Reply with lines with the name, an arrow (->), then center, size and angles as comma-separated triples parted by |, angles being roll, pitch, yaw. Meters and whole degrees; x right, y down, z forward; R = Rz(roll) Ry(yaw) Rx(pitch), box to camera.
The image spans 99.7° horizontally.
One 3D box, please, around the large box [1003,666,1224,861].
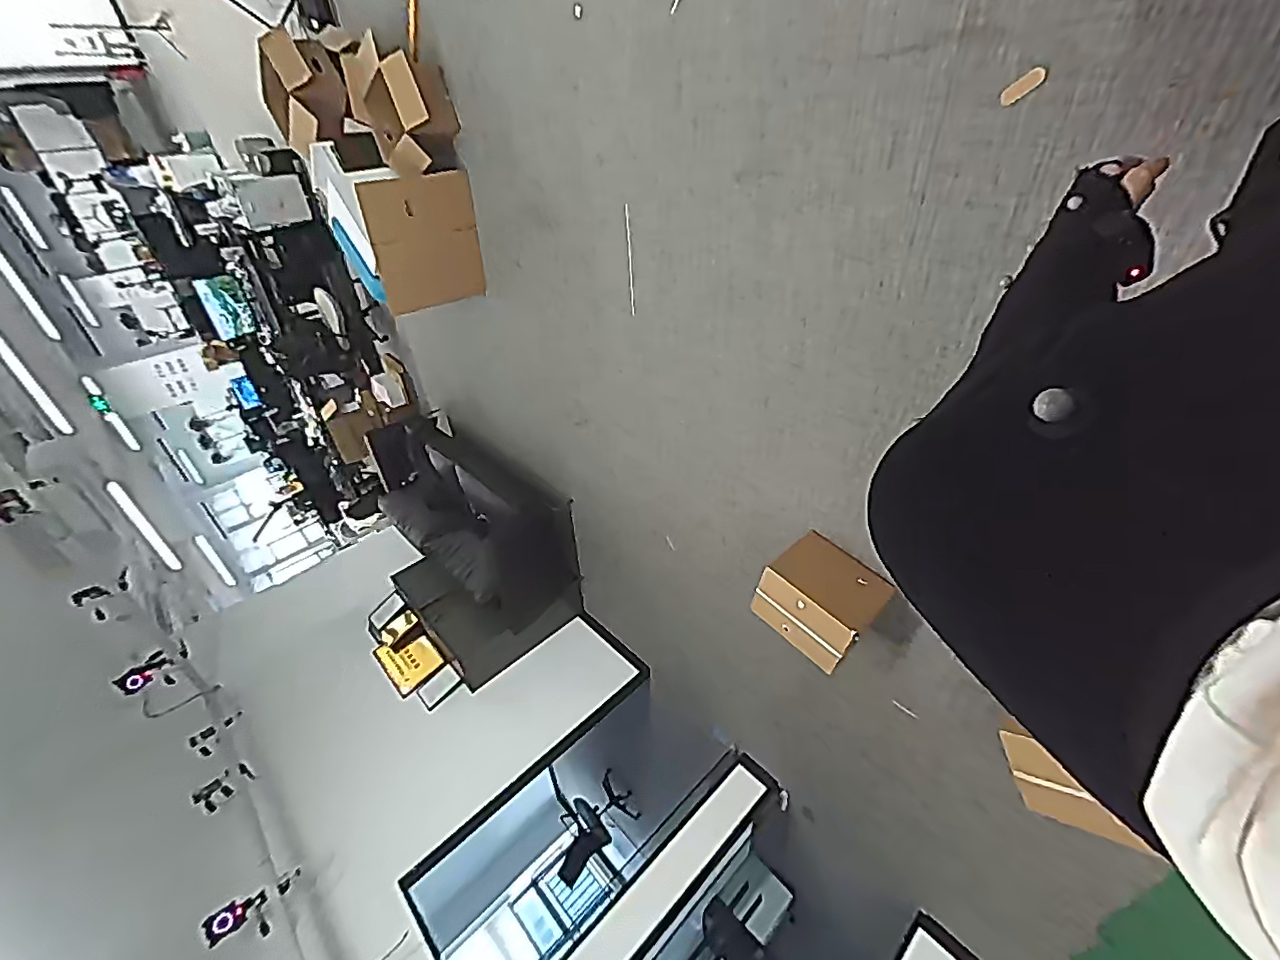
large box -> 1.385, 0.794, 1.593 | 0.408, 0.320, 0.320 | -10, 108, 55
